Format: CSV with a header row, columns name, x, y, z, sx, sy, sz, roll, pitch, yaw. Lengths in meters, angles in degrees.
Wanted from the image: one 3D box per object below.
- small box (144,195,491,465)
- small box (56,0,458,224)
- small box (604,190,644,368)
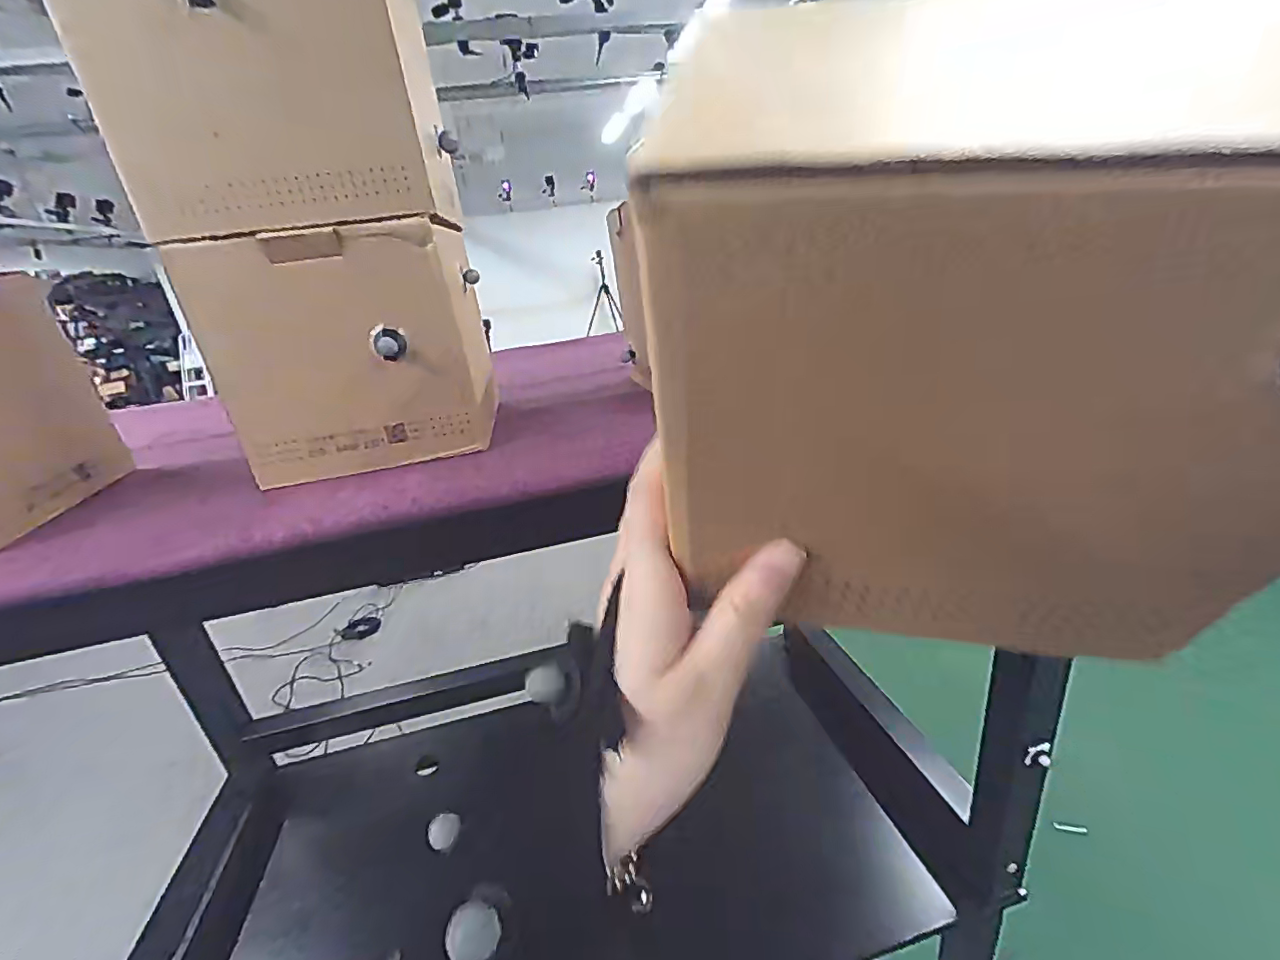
name,x,y,z,sx,sy,sz,roll,pitch,yaw
small box,-0.223,-0.118,0.437,0.168,0.176,0.179,-10,22,-8
small box,-0.242,-0.269,0.374,0.179,0.176,0.168,-10,24,-8
small box,0.077,-0.187,0.494,0.179,0.176,0.168,-12,21,-10
